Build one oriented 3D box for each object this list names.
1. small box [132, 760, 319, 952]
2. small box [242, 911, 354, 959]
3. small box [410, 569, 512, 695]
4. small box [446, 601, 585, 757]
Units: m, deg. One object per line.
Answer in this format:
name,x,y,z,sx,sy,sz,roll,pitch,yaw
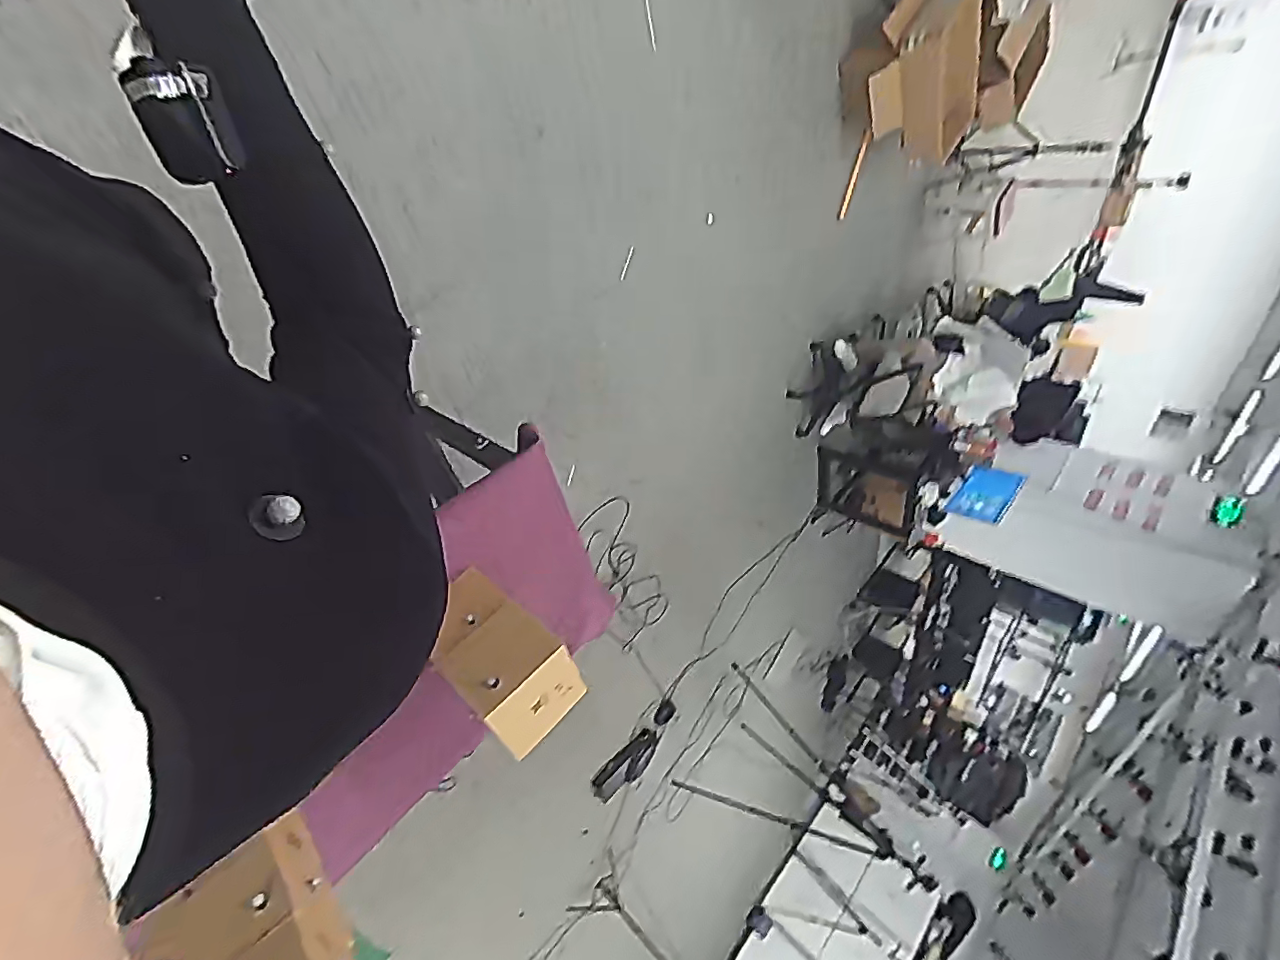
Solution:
small box,-0.684,0.611,0.897,0.179,0.176,0.168,-38,134,-30
small box,-0.455,0.707,0.683,0.179,0.176,0.168,-36,133,-32
small box,-0.351,0.322,1.129,0.179,0.176,0.168,-42,136,-27
small box,-0.238,0.366,1.016,0.179,0.176,0.168,-41,136,-28
